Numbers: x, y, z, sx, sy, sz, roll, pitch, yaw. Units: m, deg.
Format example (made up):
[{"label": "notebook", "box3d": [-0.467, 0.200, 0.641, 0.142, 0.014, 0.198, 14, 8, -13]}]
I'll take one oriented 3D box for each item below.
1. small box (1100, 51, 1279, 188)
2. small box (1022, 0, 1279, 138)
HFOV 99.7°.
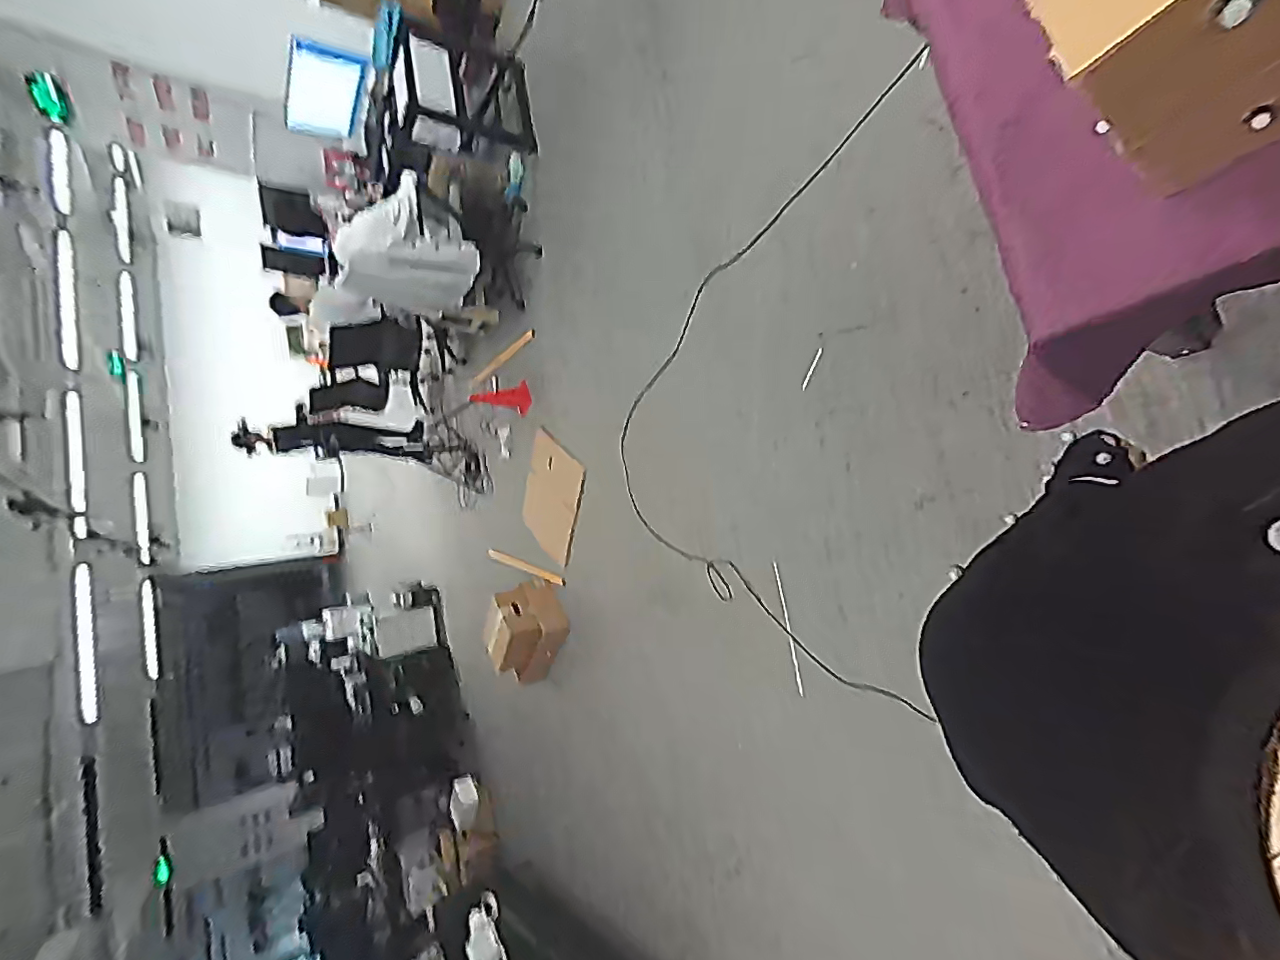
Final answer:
[{"label": "small box", "box3d": [0.526, -0.404, 0.485, 0.179, 0.176, 0.168, -27, 72, 53]}, {"label": "small box", "box3d": [0.398, -0.395, 0.386, 0.179, 0.176, 0.168, -29, 71, 52]}]
